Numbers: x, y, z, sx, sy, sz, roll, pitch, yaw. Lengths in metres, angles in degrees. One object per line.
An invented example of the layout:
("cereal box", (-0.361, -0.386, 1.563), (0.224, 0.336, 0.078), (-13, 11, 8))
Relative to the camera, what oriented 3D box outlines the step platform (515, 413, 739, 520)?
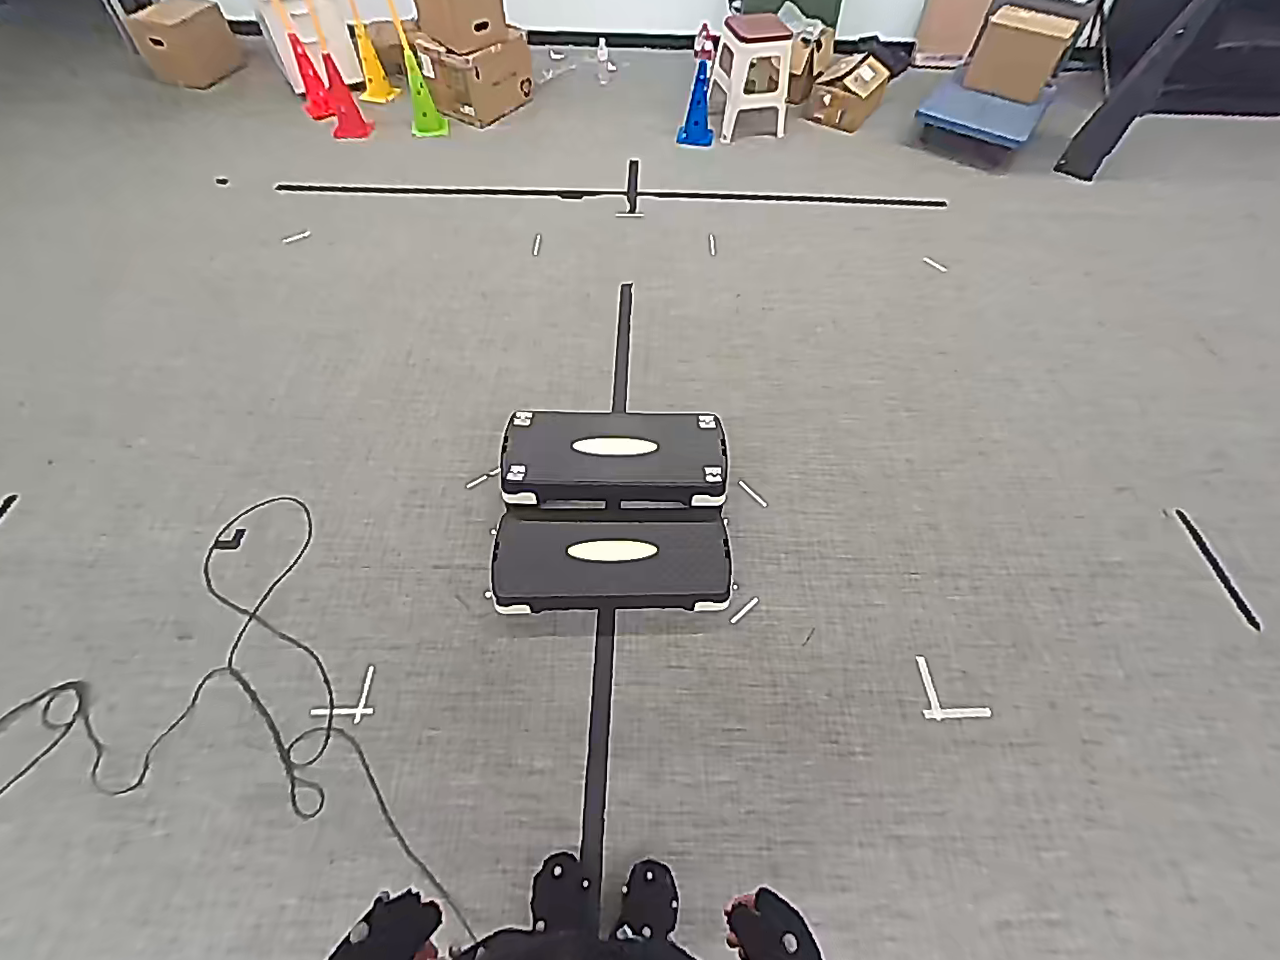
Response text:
("step platform", (-0.041, -0.046, 1.680), (0.684, 0.204, 0.286), (1, 56, -2))
